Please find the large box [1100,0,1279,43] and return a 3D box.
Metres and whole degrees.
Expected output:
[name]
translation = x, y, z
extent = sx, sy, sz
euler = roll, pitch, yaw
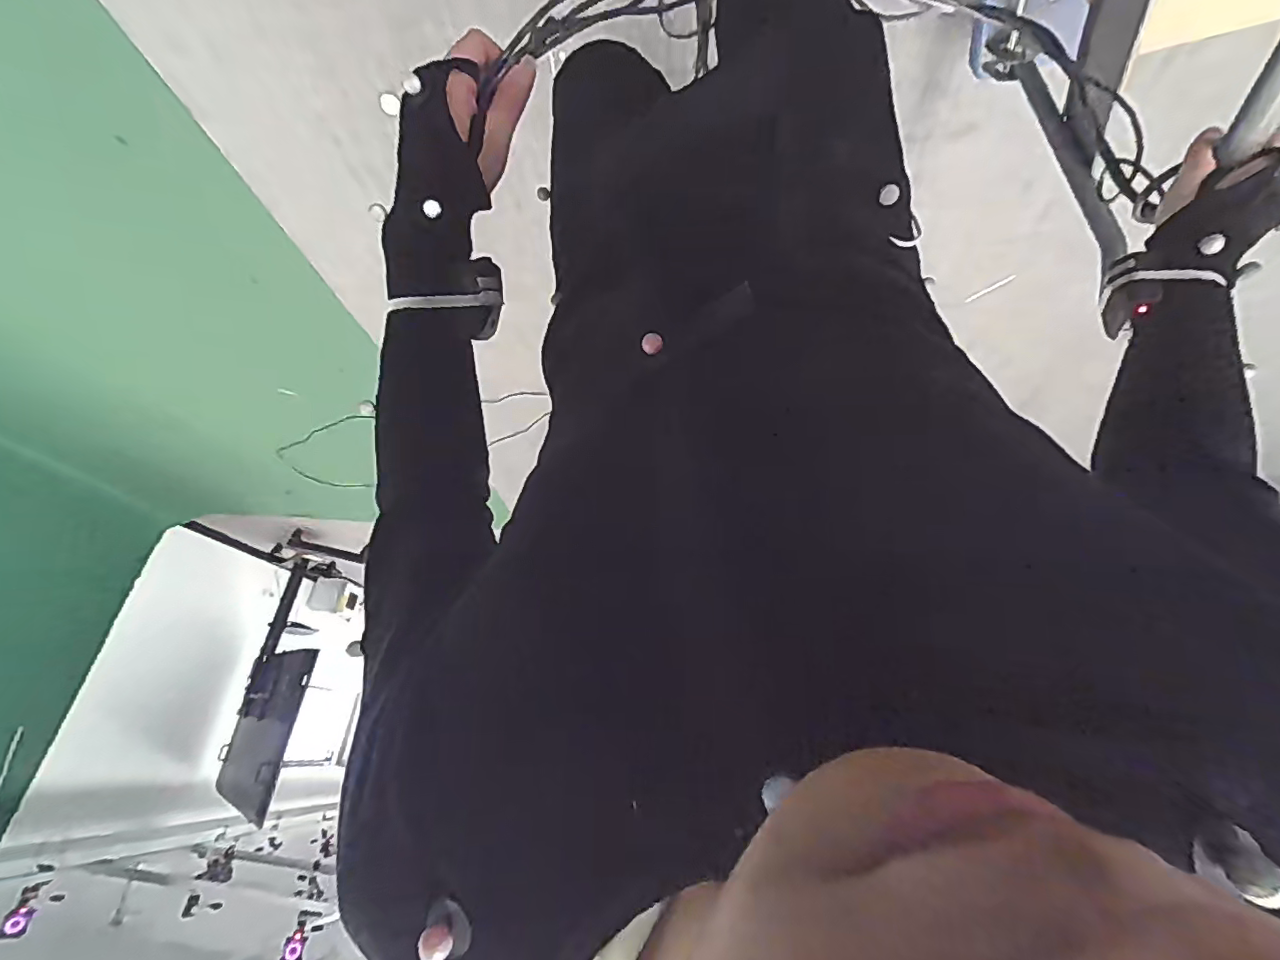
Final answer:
[large box]
translation = 0.779, -0.785, 0.584
extent = 0.408, 0.320, 0.320
euler = -4, 152, 19
